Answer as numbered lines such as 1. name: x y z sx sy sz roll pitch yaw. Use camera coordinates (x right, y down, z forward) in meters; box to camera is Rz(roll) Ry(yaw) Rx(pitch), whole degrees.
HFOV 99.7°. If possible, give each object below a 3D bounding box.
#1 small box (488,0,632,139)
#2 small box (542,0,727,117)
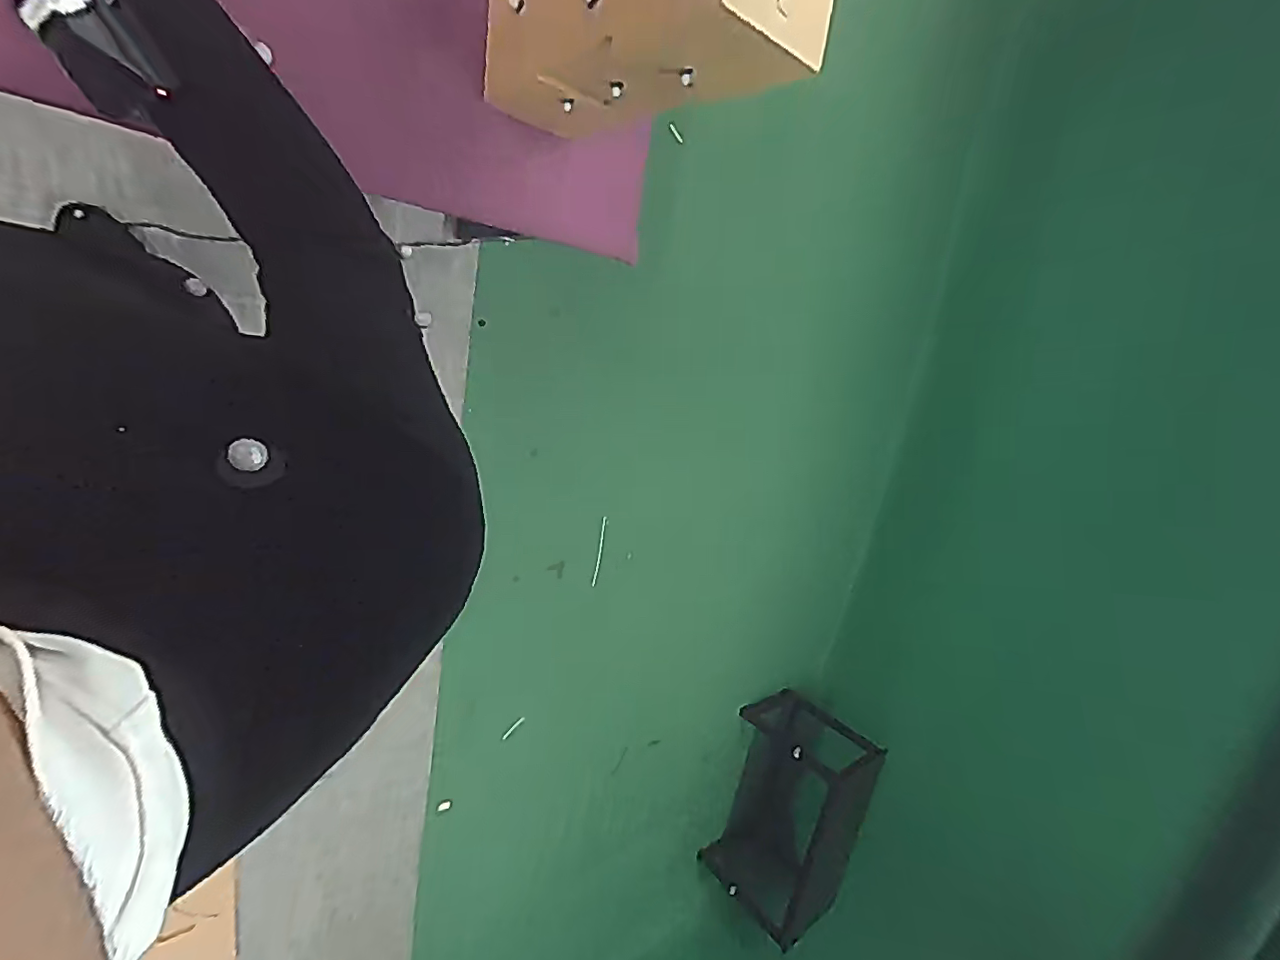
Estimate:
1. small box: -0.114 -0.642 0.805 0.168 0.176 0.179 -4 109 -40
2. small box: -0.009 -0.597 0.687 0.168 0.176 0.179 -3 108 -42
